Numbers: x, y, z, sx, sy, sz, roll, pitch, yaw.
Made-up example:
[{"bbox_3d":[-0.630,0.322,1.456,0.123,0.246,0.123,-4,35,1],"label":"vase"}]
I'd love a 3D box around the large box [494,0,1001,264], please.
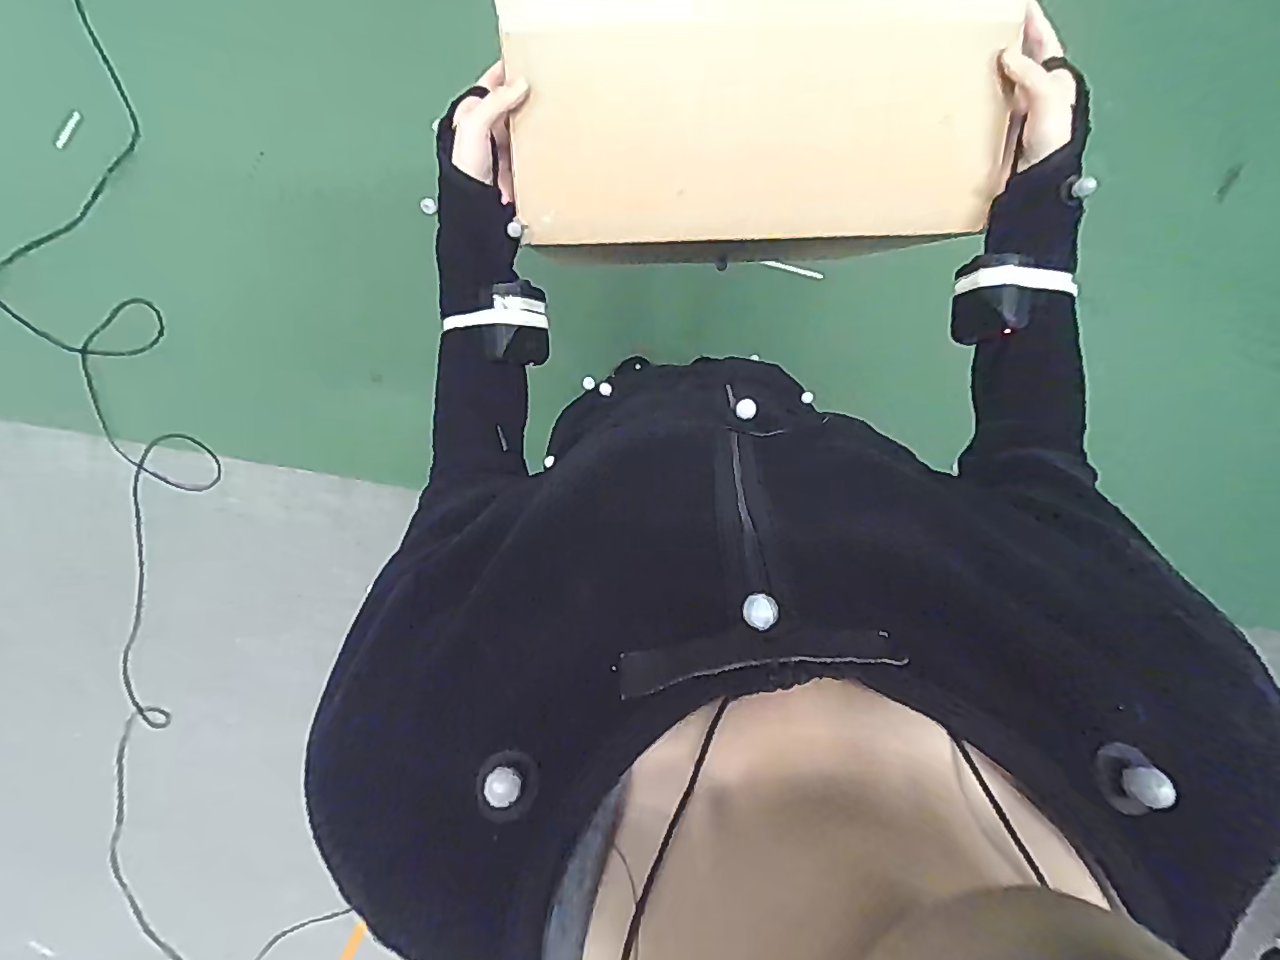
[{"bbox_3d":[0.084,-0.408,0.566,0.408,0.320,0.320,-3,108,0],"label":"large box"}]
